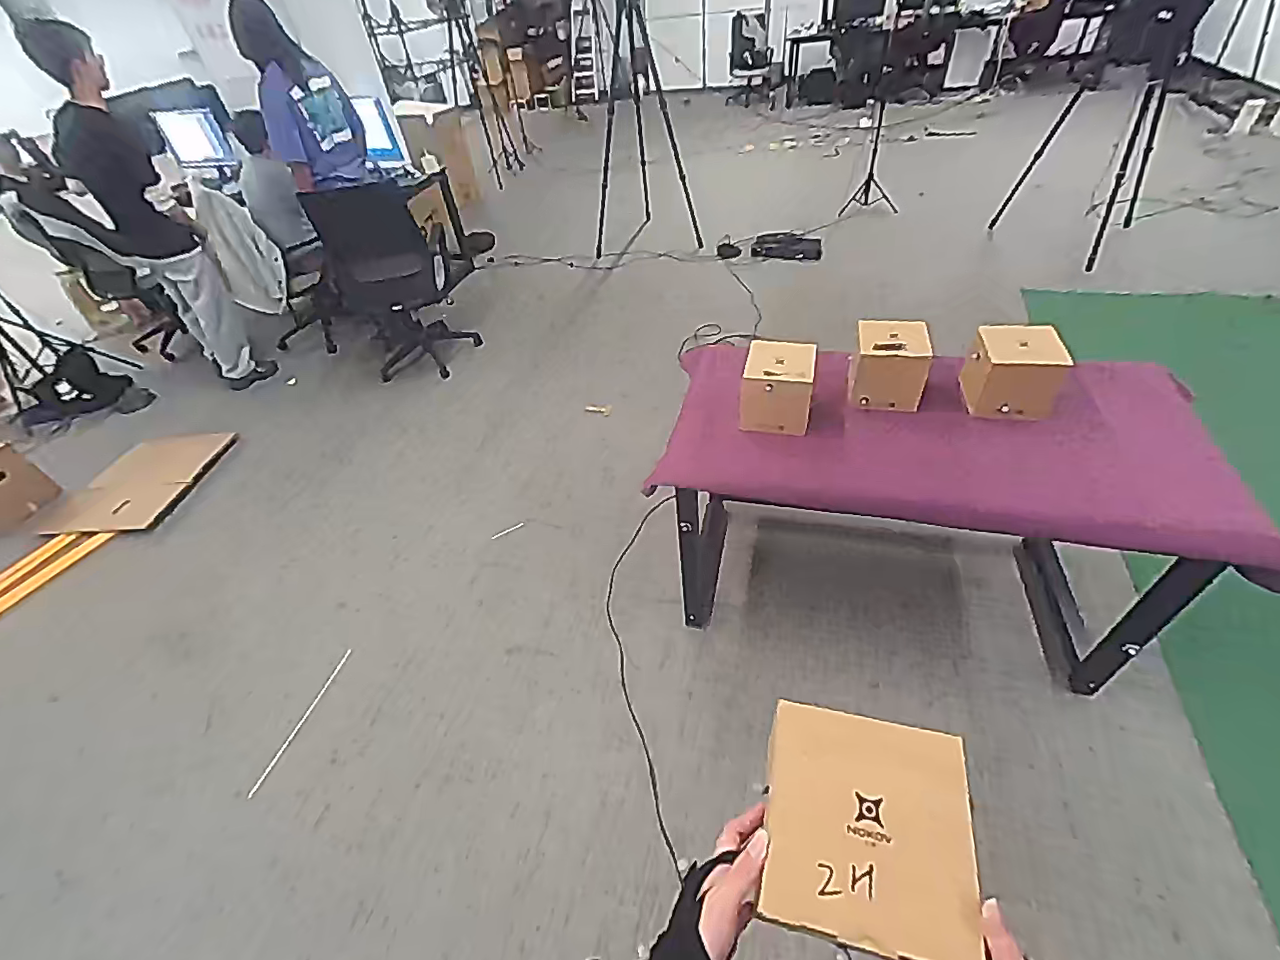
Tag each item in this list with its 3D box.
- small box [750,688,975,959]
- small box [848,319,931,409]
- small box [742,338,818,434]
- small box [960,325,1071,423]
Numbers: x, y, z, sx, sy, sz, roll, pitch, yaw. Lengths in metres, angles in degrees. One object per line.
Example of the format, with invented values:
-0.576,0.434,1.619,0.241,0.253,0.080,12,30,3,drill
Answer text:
0.203,0.335,0.534,0.168,0.176,0.179,7,54,14,small box
0.647,-0.302,1.419,0.168,0.176,0.179,7,45,14,small box
0.358,-0.244,1.396,0.168,0.176,0.179,8,46,15,small box
0.921,-0.266,1.348,0.168,0.176,0.179,6,46,14,small box
